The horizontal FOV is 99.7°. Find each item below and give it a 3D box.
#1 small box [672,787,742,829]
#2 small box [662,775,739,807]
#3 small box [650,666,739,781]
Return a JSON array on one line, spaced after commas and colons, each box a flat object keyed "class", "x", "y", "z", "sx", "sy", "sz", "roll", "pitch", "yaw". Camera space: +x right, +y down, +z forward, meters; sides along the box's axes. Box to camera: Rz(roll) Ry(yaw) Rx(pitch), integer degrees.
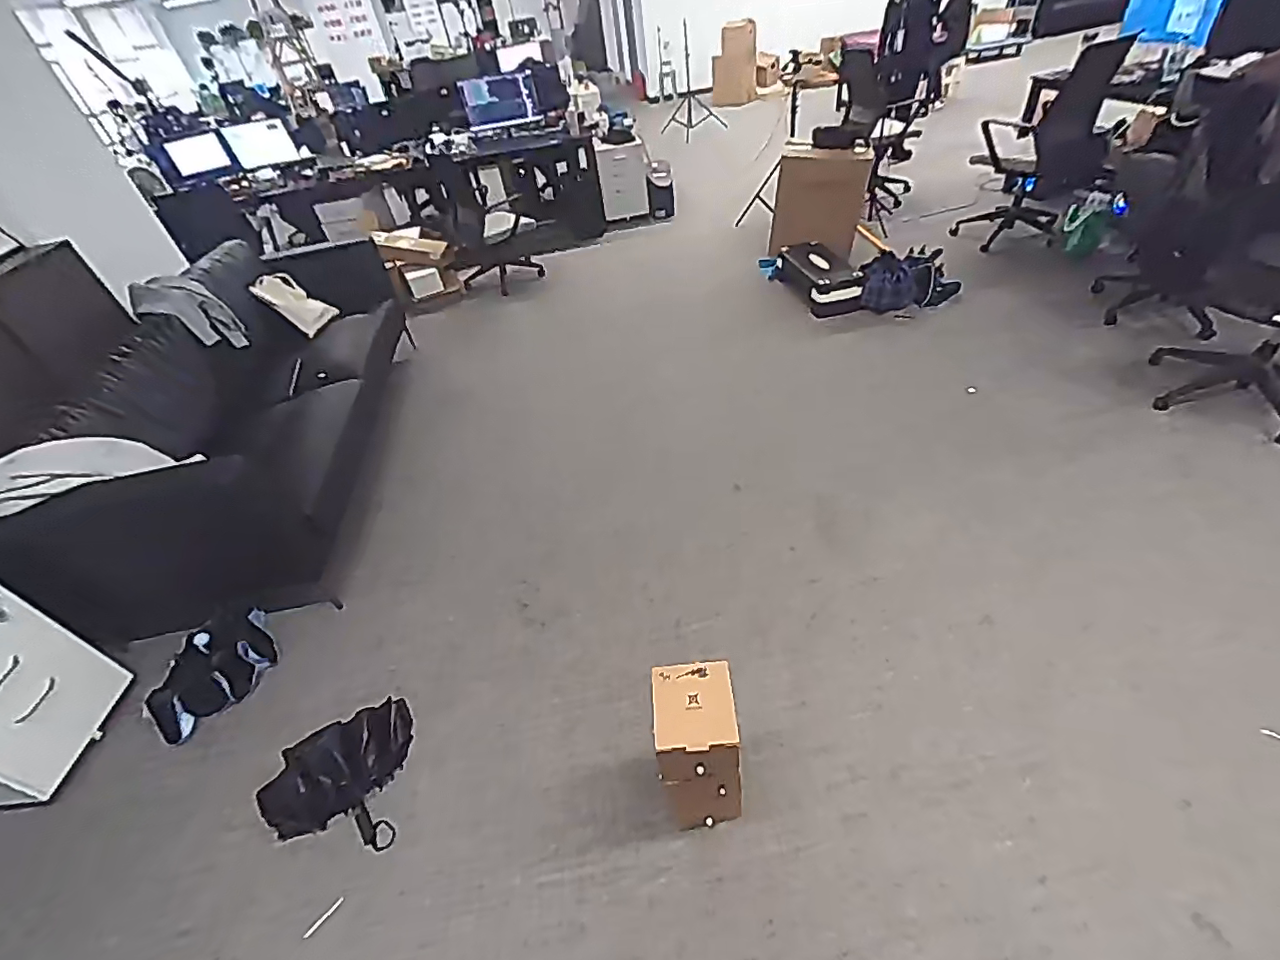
[{"class": "small box", "x": 0.151, "y": 0.743, "z": 1.360, "sx": 0.168, "sy": 0.176, "sz": 0.179, "roll": -12, "pitch": 44, "yaw": -2}, {"class": "small box", "x": 0.129, "y": 0.631, "z": 1.246, "sx": 0.168, "sy": 0.176, "sz": 0.179, "roll": -11, "pitch": 42, "yaw": -2}, {"class": "small box", "x": 0.114, "y": 0.515, "z": 1.133, "sx": 0.168, "sy": 0.176, "sz": 0.179, "roll": -7, "pitch": 44, "yaw": 4}]
